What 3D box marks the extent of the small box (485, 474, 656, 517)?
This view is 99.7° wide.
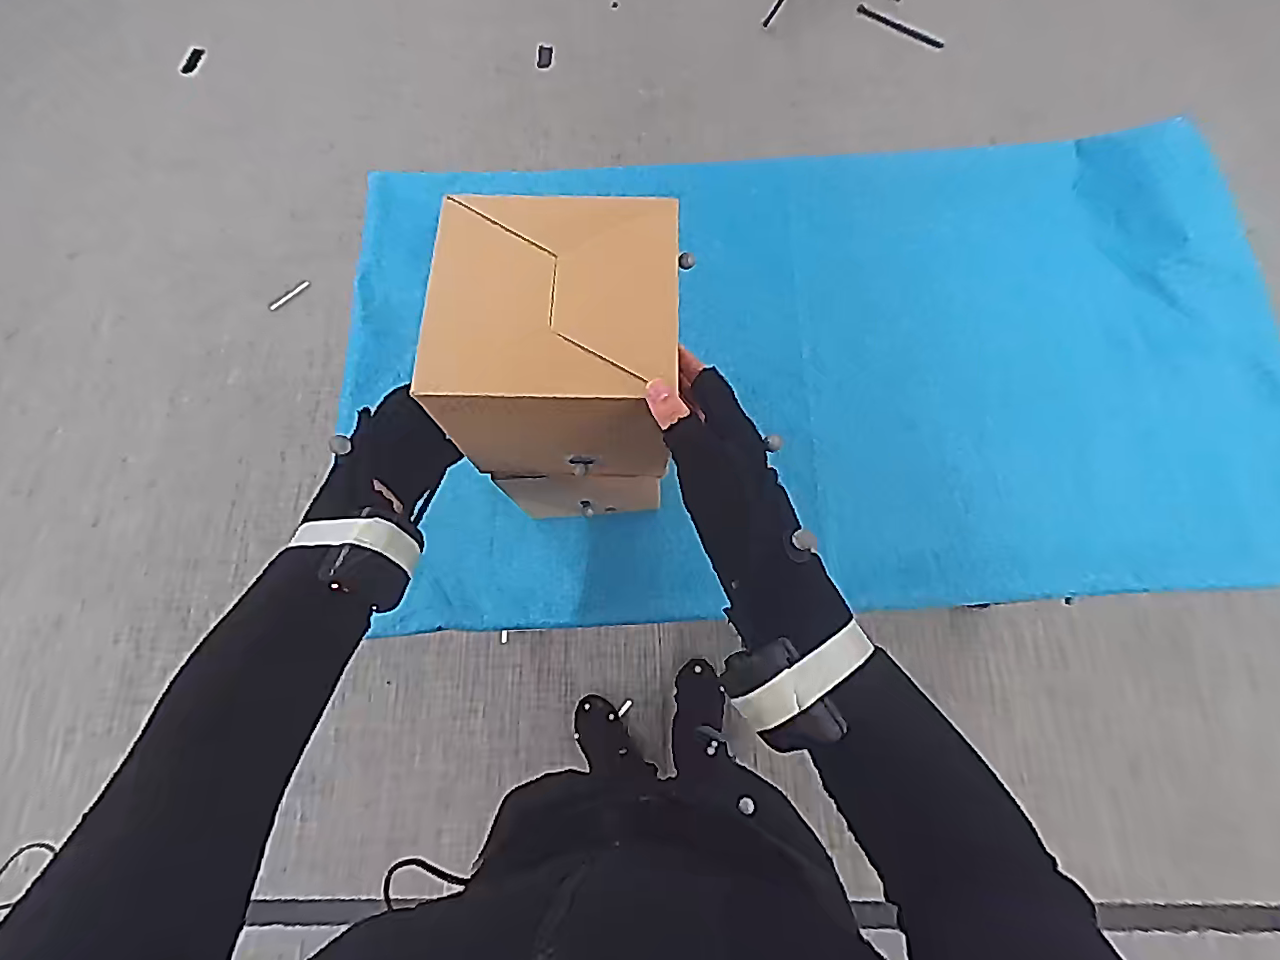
[{"bbox_3d":[-0.066,-0.059,0.626,0.168,0.176,0.179,-1,76,4],"label":"small box"}]

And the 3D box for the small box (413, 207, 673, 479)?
[{"bbox_3d":[-0.062,-0.103,0.452,0.179,0.176,0.168,1,72,1],"label":"small box"}]
